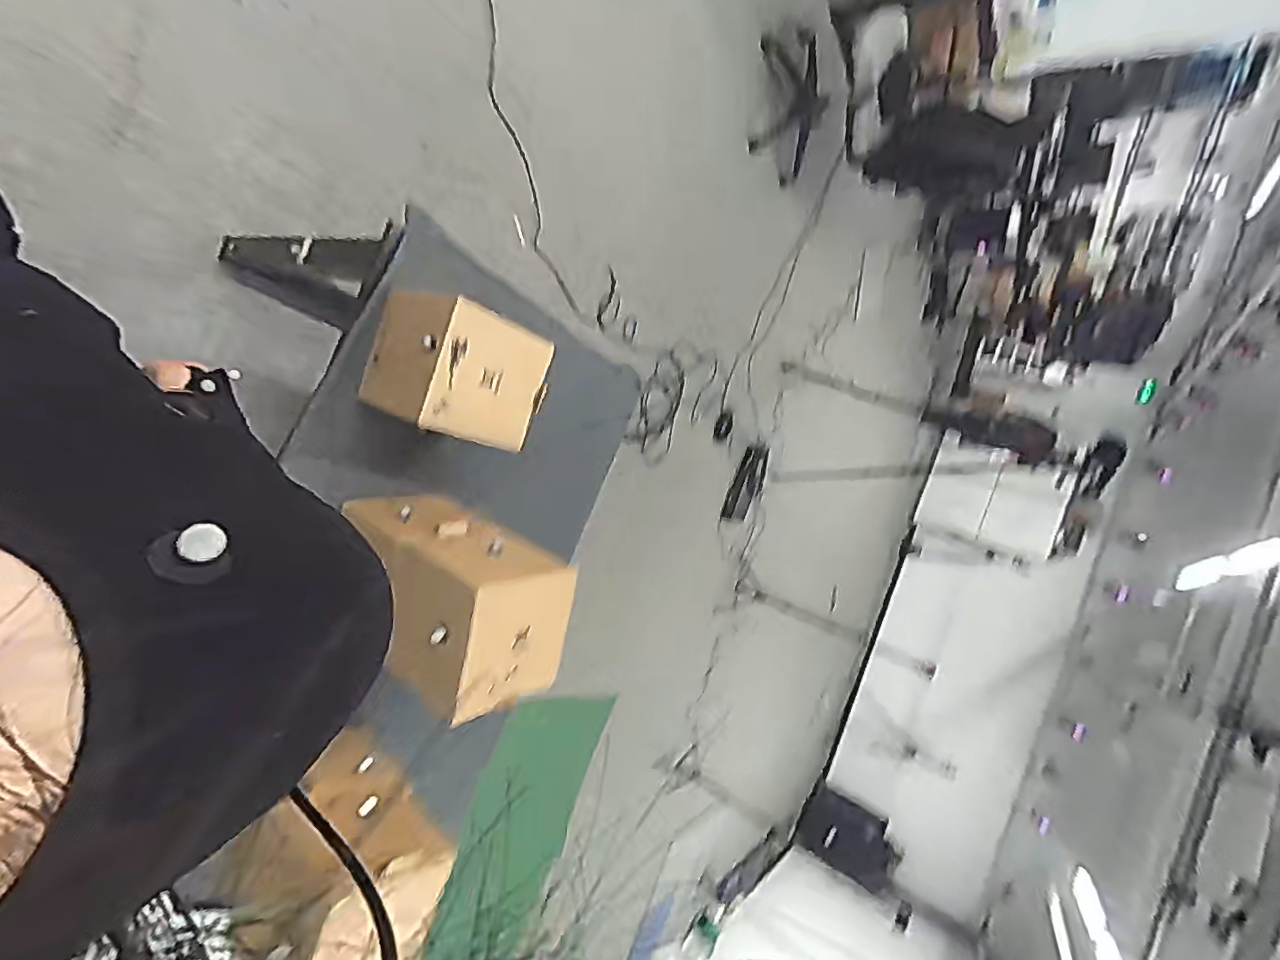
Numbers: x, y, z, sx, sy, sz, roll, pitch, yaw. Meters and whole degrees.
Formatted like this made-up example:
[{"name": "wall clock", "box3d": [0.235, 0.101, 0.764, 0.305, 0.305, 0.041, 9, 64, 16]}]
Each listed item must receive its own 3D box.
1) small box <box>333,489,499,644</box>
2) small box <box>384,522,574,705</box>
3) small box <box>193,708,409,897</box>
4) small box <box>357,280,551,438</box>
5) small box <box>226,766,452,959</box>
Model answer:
[{"name": "small box", "box3d": [-0.343, 0.115, 0.823, 0.168, 0.176, 0.179, -3, 109, -52]}, {"name": "small box", "box3d": [-0.218, 0.160, 0.725, 0.168, 0.176, 0.179, 2, 105, -53]}, {"name": "small box", "box3d": [-0.488, 0.457, 0.786, 0.168, 0.176, 0.179, -60, 143, -16]}, {"name": "small box", "box3d": [-0.267, -0.175, 0.782, 0.179, 0.176, 0.168, 16, 94, -55]}, {"name": "small box", "box3d": [-0.376, 0.498, 0.672, 0.168, 0.176, 0.179, 23, 86, -56]}]
